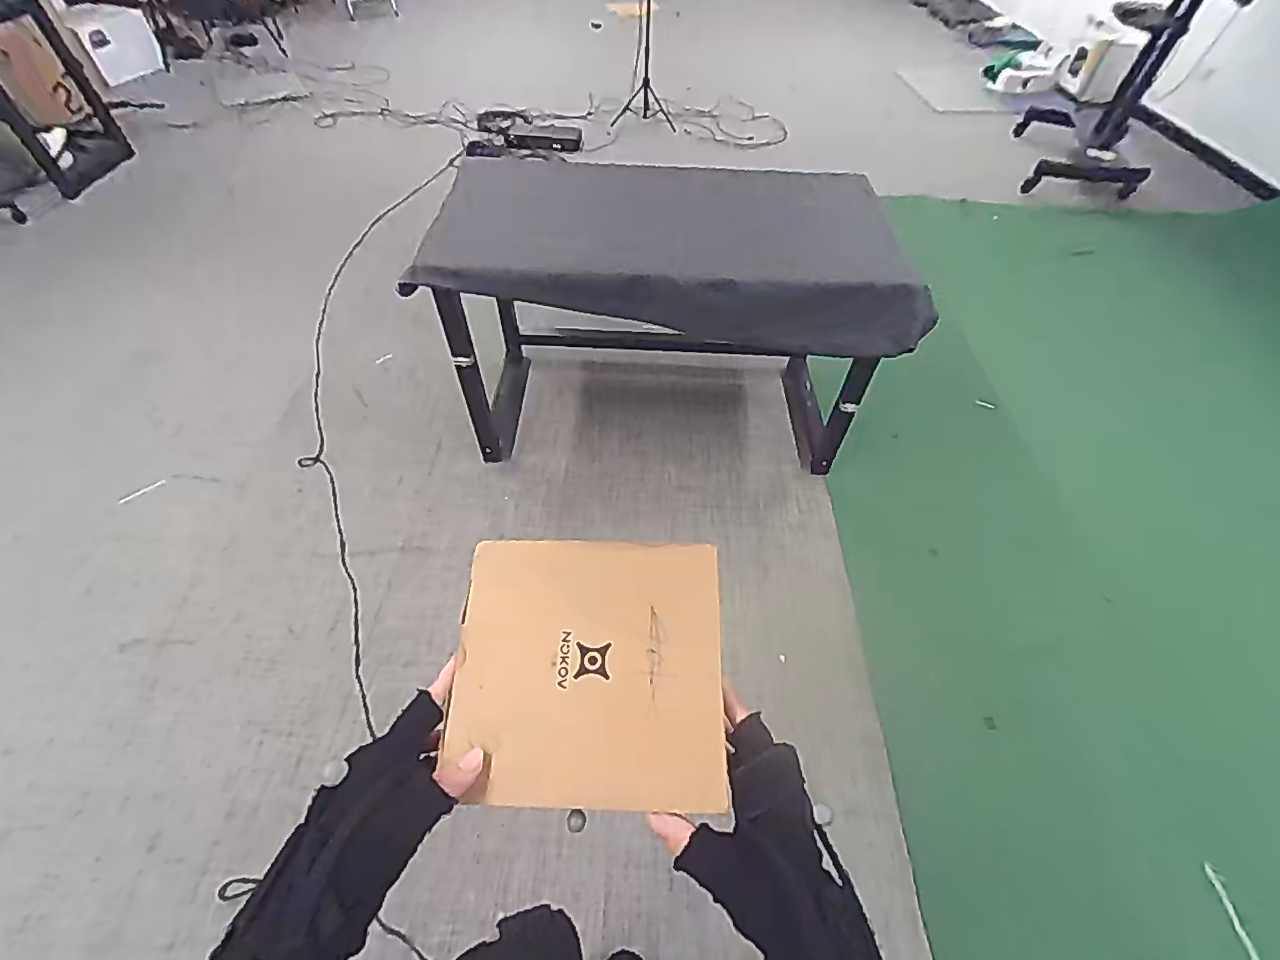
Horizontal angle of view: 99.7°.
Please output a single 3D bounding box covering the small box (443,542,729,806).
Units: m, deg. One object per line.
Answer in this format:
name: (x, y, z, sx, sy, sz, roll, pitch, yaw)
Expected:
small box: (-0.030, 0.155, 0.429, 0.179, 0.176, 0.168, 1, 64, 0)
